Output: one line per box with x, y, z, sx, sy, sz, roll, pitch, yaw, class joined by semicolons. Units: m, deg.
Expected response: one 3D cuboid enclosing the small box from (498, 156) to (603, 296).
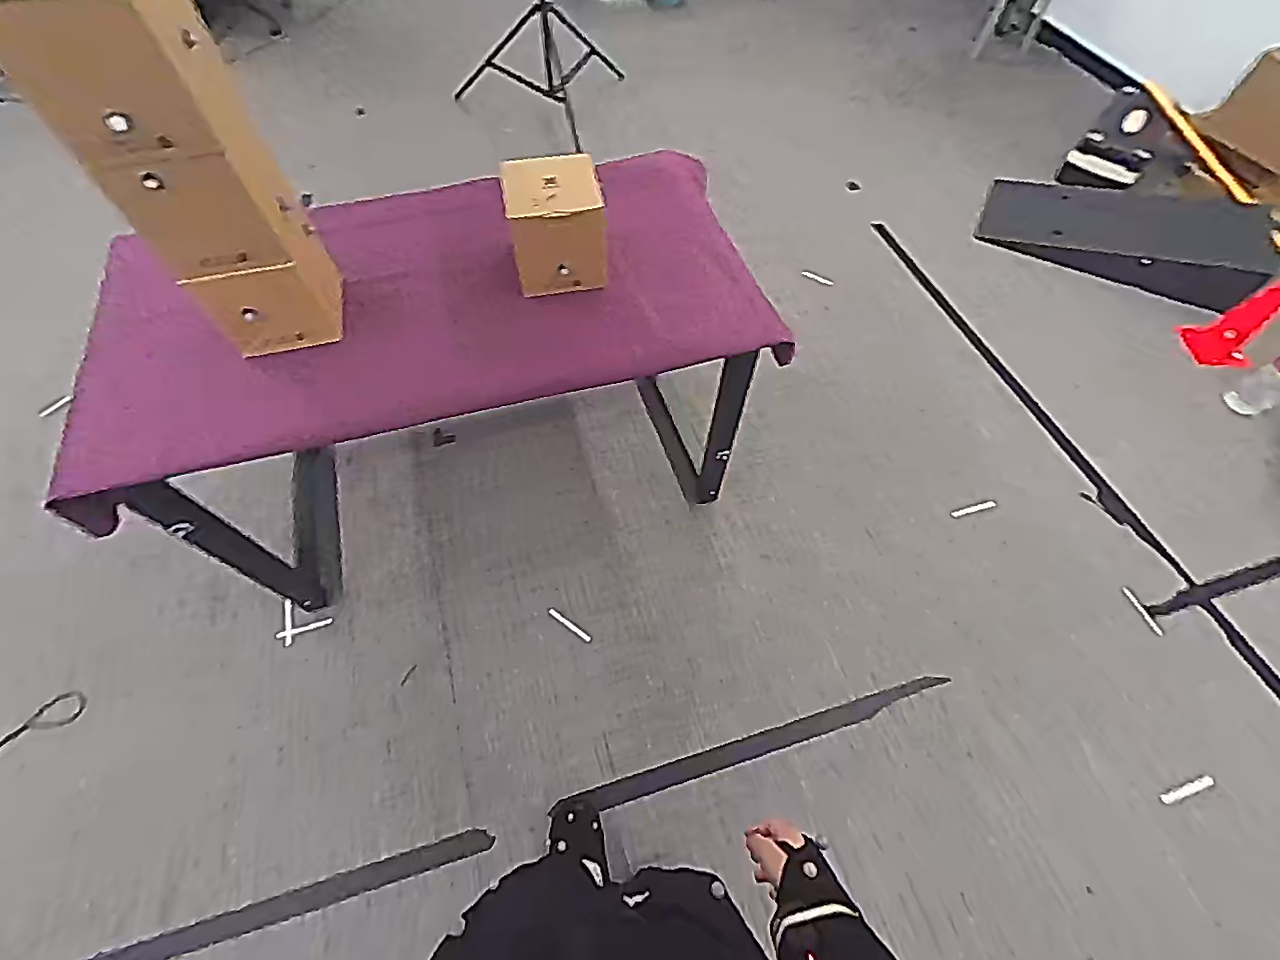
-0.165;-0.477;1.023;0.168;0.176;0.179;-10;60;-7;small box

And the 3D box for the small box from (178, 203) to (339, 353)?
-0.641;-0.339;0.931;0.168;0.176;0.179;-14;61;-9;small box

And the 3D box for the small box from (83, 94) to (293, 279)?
-0.639;-0.427;0.793;0.168;0.176;0.179;-15;60;-10;small box

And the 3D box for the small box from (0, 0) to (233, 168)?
-0.630;-0.510;0.651;0.168;0.176;0.179;-14;61;-9;small box
